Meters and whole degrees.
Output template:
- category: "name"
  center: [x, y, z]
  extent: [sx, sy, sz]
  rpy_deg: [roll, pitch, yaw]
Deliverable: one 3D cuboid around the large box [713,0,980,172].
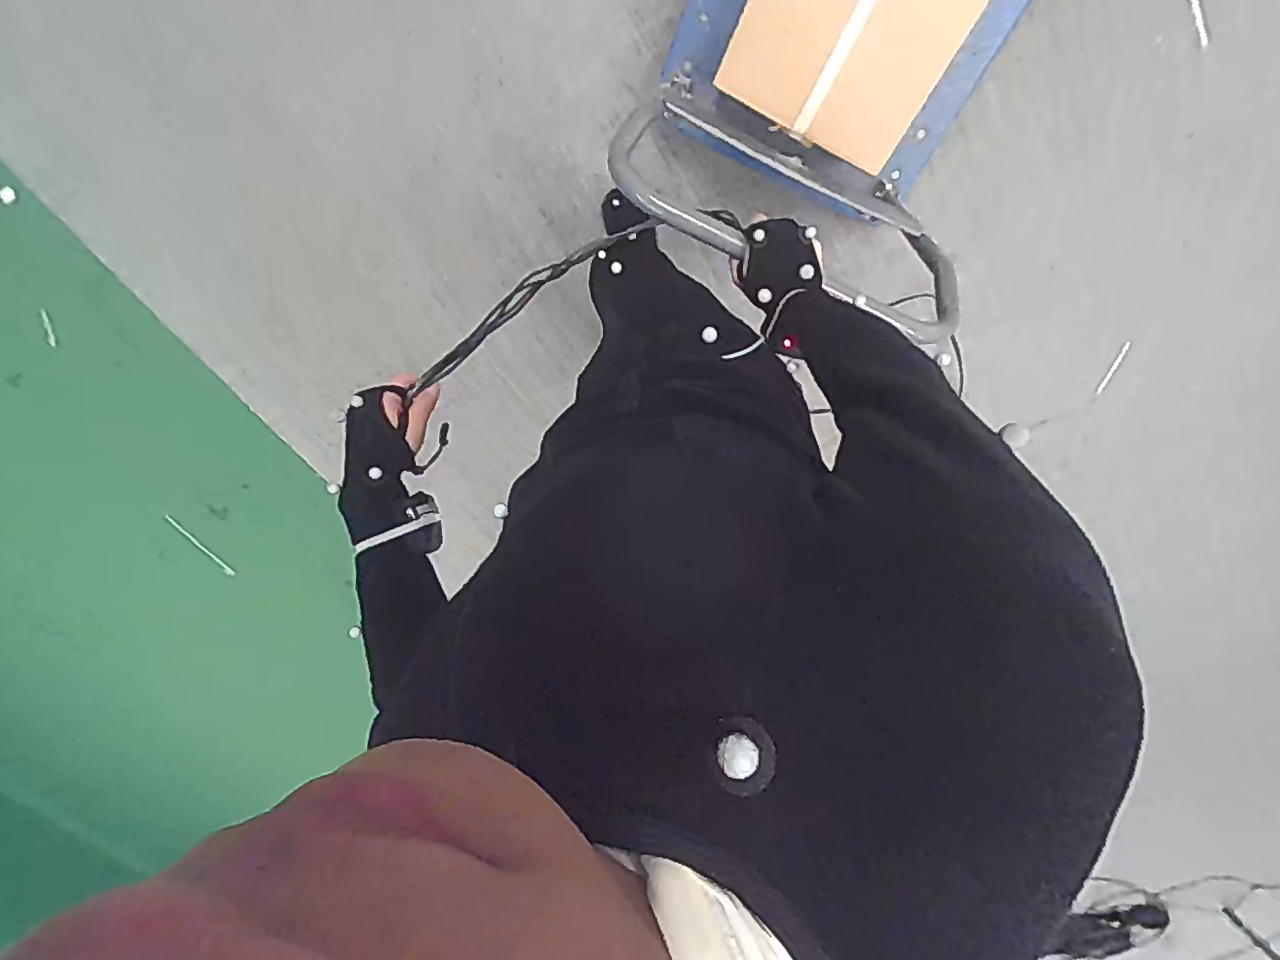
- category: "large box"
  center: [0.353, -0.802, 0.904]
  extent: [0.320, 0.320, 0.408]
  rpy_deg: [25, 125, -8]
